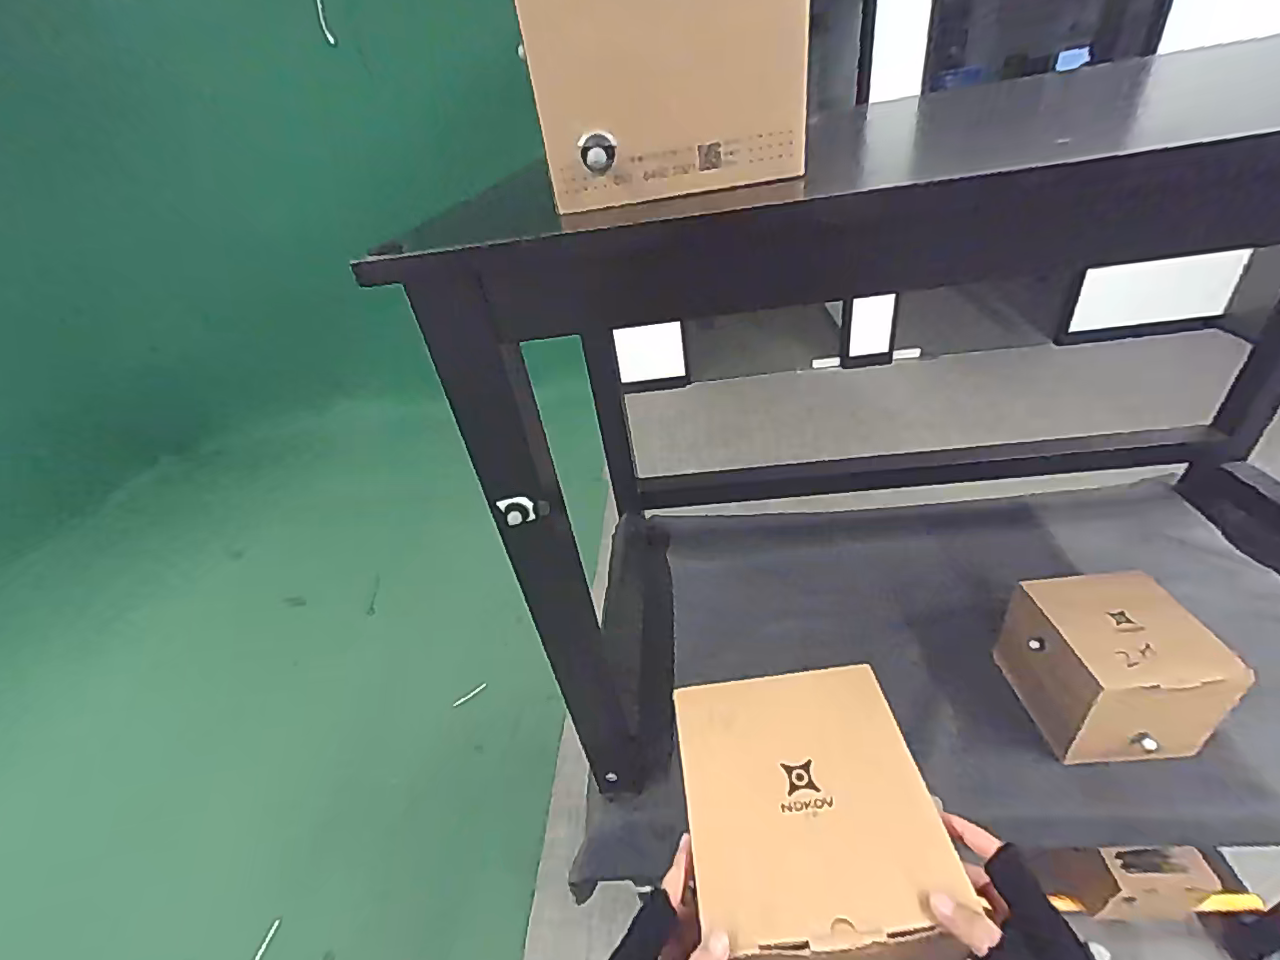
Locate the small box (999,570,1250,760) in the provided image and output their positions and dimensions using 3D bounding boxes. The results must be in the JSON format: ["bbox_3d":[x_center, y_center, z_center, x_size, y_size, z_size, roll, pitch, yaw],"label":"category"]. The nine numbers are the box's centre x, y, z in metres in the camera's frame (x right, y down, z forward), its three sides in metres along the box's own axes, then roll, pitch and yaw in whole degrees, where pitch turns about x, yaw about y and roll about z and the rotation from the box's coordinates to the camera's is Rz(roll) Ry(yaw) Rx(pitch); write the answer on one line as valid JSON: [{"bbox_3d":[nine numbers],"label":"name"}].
[{"bbox_3d":[0.629,0.249,0.736,0.168,0.176,0.179,-7,34,5],"label":"small box"}]

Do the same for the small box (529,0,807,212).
[{"bbox_3d":[0.020,-0.302,0.391,0.168,0.176,0.179,-7,34,3],"label":"small box"}]
